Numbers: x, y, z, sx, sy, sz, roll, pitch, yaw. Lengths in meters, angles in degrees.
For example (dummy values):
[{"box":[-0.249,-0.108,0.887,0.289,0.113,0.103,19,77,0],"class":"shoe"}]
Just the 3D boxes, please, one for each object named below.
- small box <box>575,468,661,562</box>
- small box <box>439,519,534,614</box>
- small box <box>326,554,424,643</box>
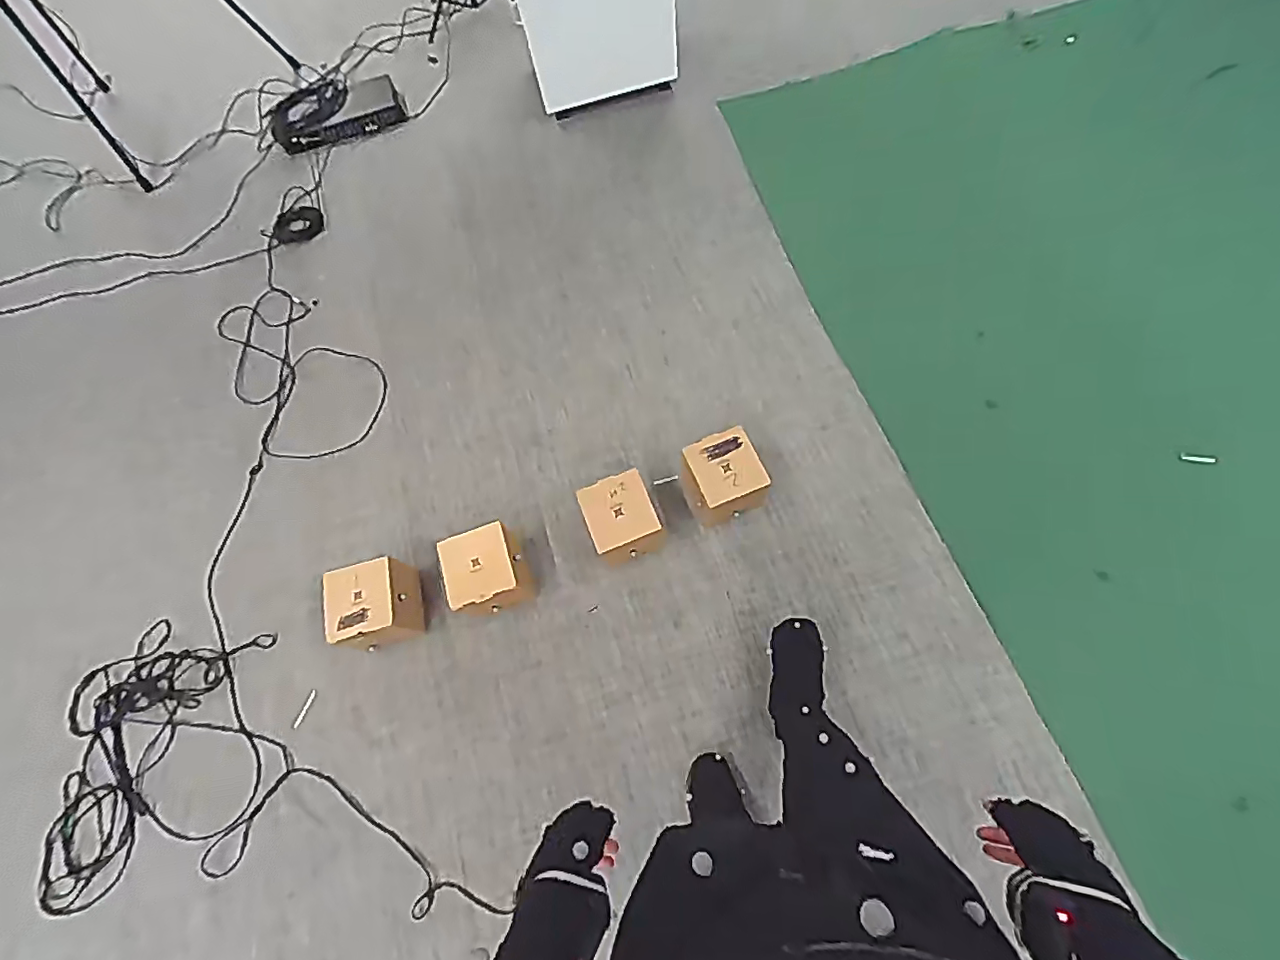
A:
[{"box":[-0.049,0.099,1.390,0.168,0.176,0.179,-21,69,-4],"class":"small box"},{"box":[-0.386,0.226,1.375,0.168,0.176,0.179,-20,69,-2],"class":"small box"},{"box":[-0.665,0.307,1.369,0.168,0.176,0.179,-15,67,-1],"class":"small box"}]
